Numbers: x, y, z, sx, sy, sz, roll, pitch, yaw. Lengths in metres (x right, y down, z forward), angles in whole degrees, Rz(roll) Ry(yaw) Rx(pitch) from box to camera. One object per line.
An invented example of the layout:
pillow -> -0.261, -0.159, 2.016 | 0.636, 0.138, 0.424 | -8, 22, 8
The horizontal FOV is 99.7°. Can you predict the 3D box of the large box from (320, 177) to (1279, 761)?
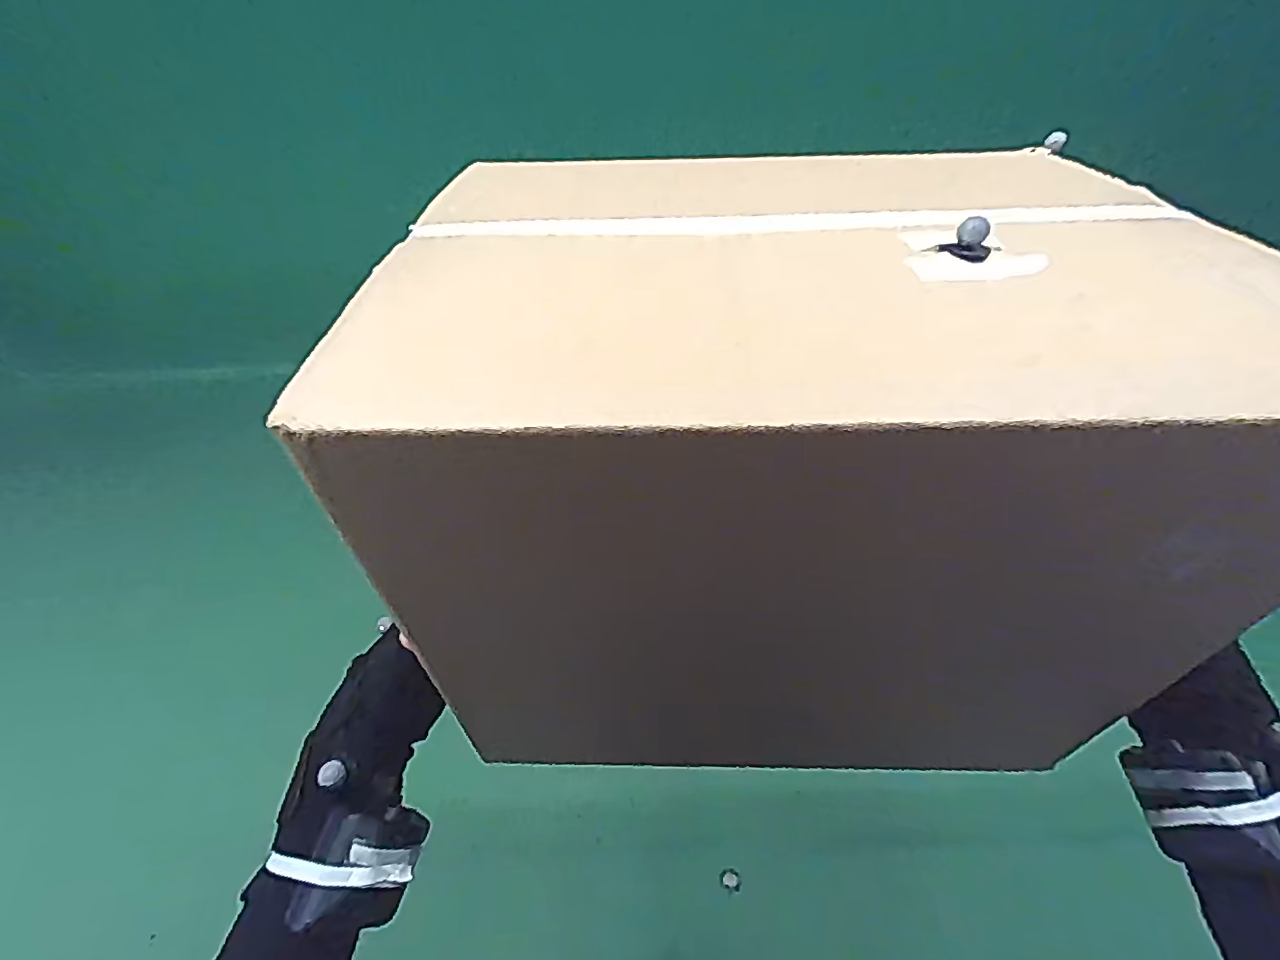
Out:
large box -> 0.086, -0.011, 0.395 | 0.408, 0.320, 0.320 | 1, 44, 2
